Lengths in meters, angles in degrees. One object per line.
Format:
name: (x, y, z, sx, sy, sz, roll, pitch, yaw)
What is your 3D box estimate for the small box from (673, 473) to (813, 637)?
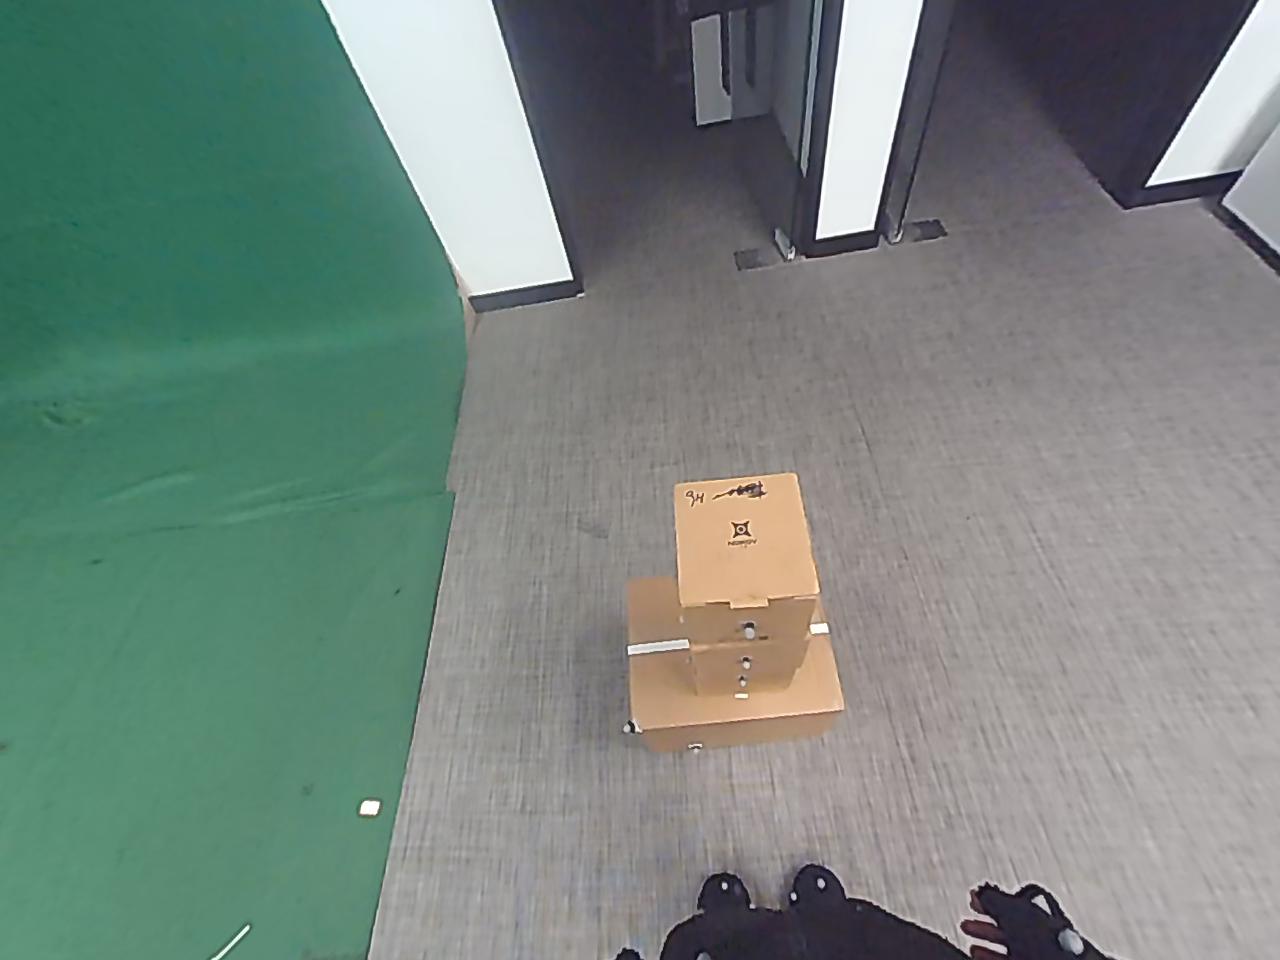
small box: (0.138, 0.113, 0.749, 0.168, 0.176, 0.179, -5, 58, 8)

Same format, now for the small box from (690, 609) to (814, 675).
small box: (0.165, 0.208, 0.879, 0.179, 0.176, 0.168, -9, 57, 4)

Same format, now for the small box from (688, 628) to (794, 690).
small box: (0.183, 0.292, 1.019, 0.179, 0.176, 0.168, -6, 57, 5)
